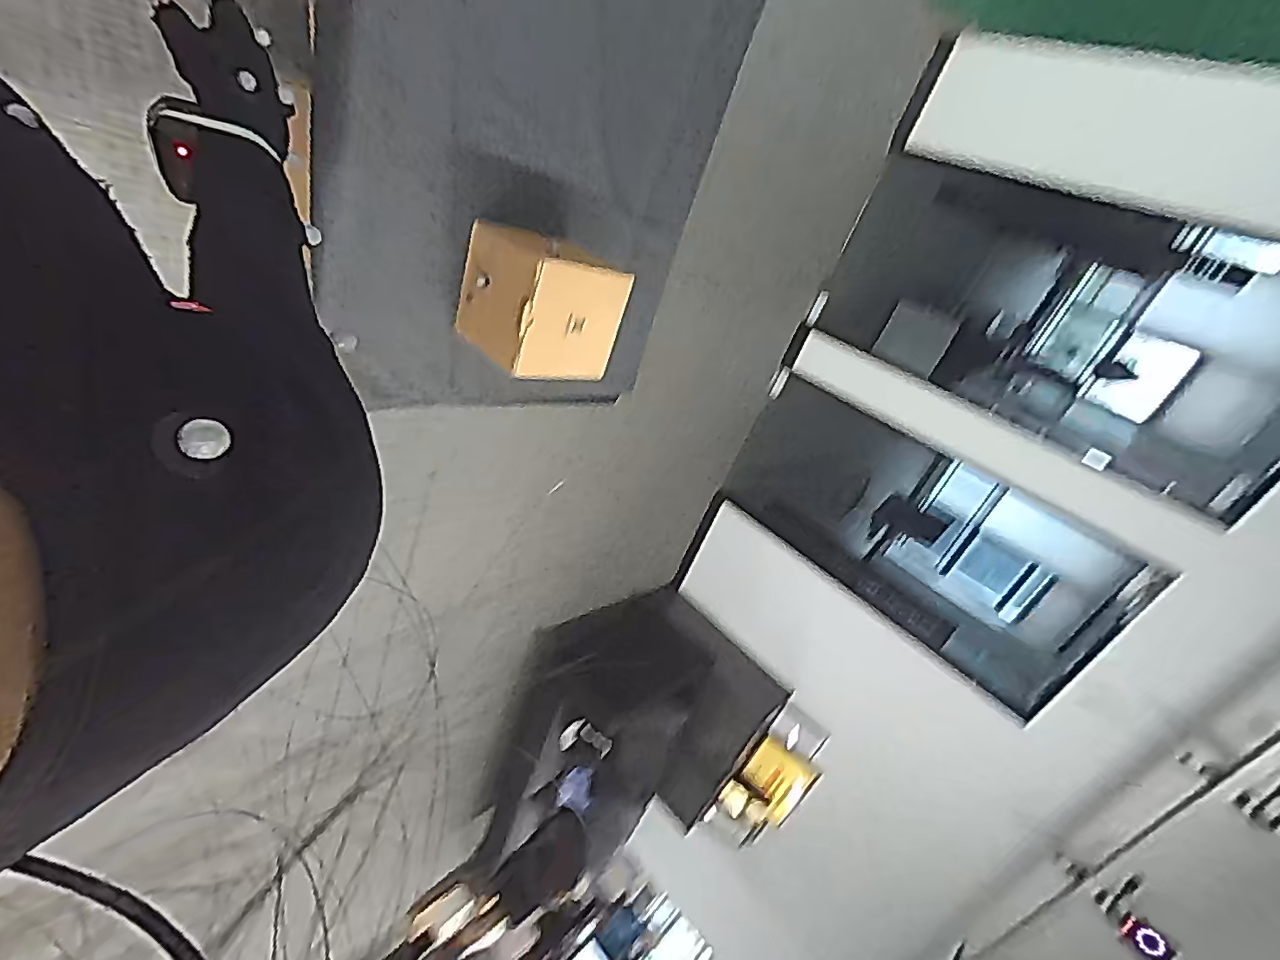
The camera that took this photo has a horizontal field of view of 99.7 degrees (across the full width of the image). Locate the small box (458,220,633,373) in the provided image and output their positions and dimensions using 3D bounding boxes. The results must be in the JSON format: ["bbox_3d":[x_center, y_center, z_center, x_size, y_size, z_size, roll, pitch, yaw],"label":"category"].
[{"bbox_3d":[-0.147,-0.276,0.826,0.179,0.176,0.168,-11,132,-47],"label":"small box"}]
